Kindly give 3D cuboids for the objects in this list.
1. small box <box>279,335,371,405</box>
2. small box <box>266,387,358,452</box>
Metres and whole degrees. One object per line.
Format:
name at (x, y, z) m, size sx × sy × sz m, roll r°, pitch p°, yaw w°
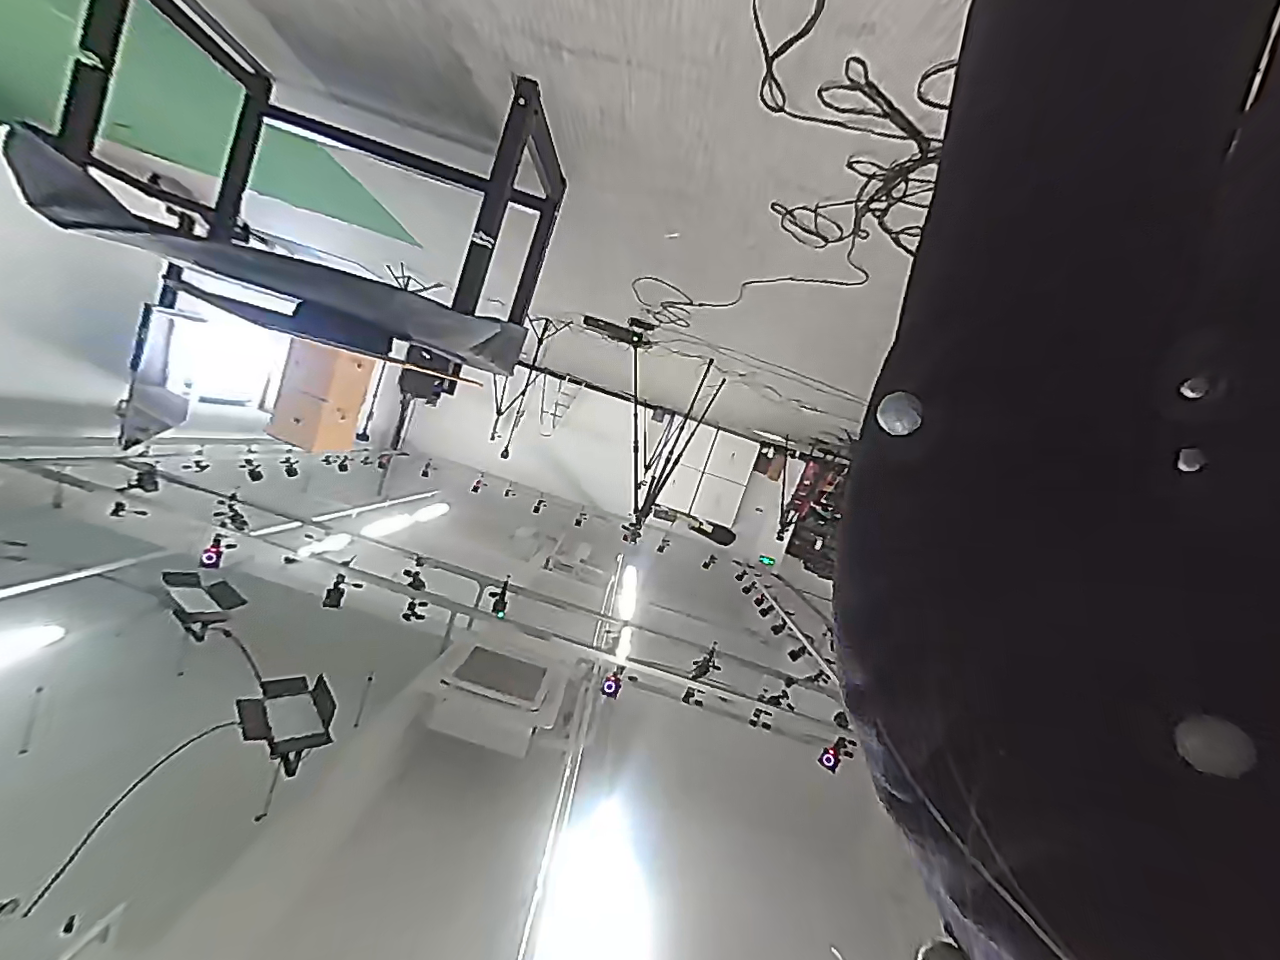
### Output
small box at (-0.993, -0.350, 1.715) m, size 0.179 × 0.176 × 0.168 m, roll 19°, pitch -173°, yaw 8°
small box at (-1.046, -0.196, 1.737) m, size 0.179 × 0.176 × 0.168 m, roll 19°, pitch -173°, yaw 8°
